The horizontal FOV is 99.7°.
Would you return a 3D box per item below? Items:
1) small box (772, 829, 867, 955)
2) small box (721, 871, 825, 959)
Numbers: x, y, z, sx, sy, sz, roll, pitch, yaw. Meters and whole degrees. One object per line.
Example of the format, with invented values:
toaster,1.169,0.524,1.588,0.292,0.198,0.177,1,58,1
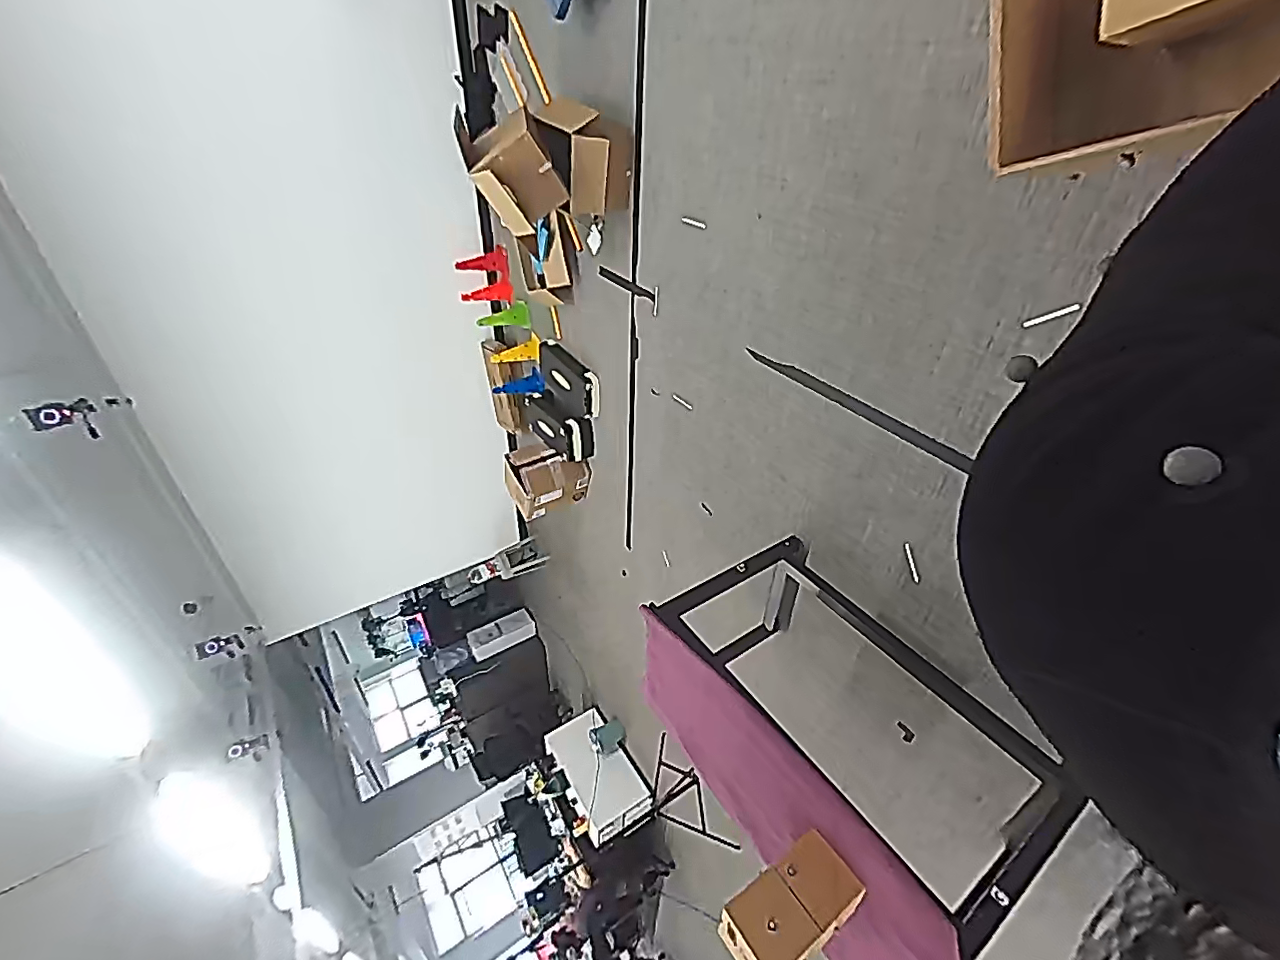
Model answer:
small box,0.464,1.078,1.424,0.179,0.176,0.168,40,141,44
small box,0.327,1.124,1.347,0.179,0.176,0.168,40,141,44
